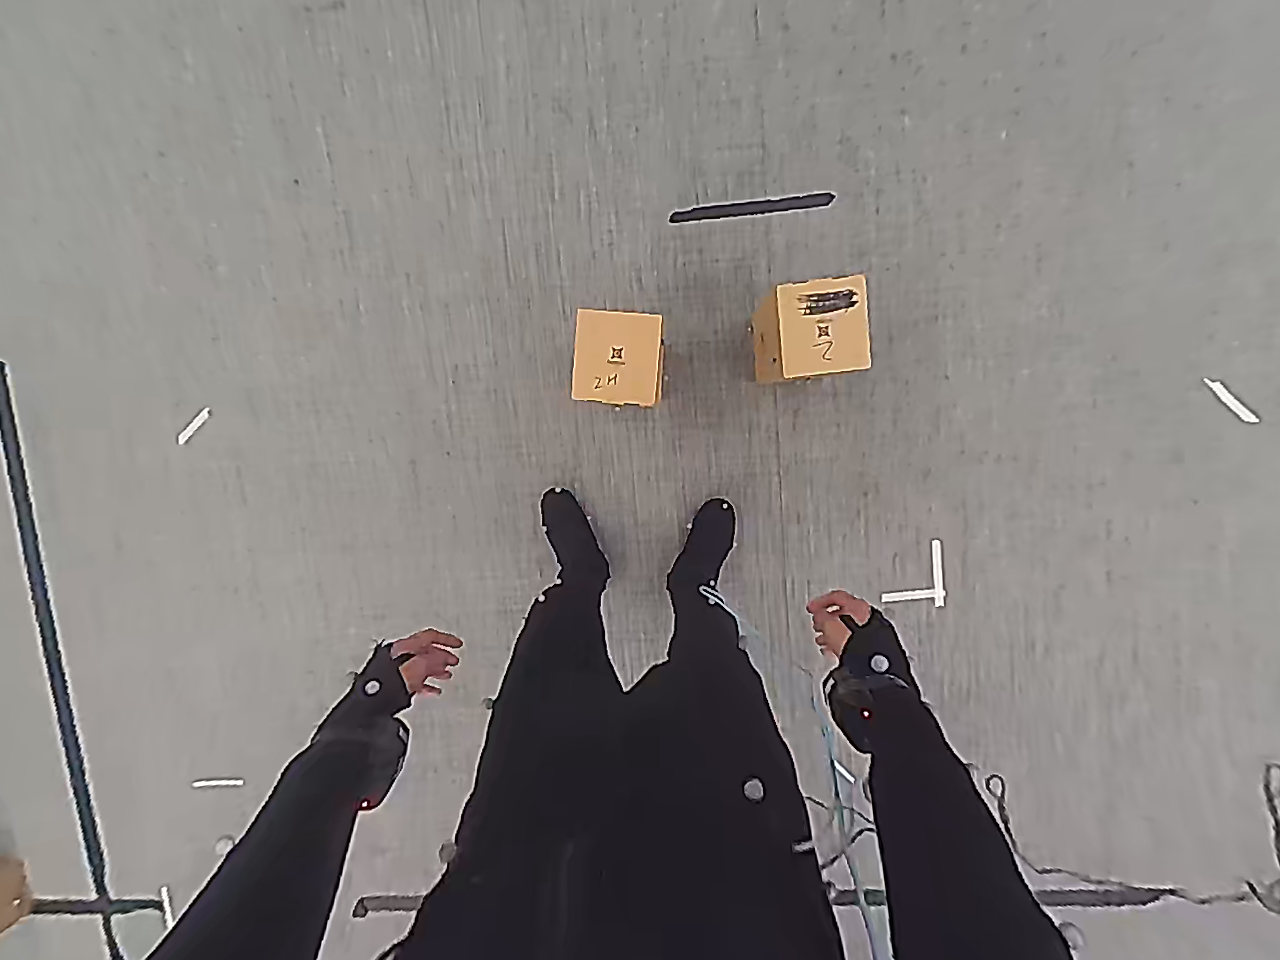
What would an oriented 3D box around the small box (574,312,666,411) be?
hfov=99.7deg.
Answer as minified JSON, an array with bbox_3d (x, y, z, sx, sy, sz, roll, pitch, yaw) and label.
[{"bbox_3d":[-0.035,-0.238,1.121,0.168,0.176,0.179,6,97,3],"label":"small box"}]

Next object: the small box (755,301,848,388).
[{"bbox_3d":[0.366,-0.307,1.256,0.179,0.176,0.168,-5,97,3],"label":"small box"}]
